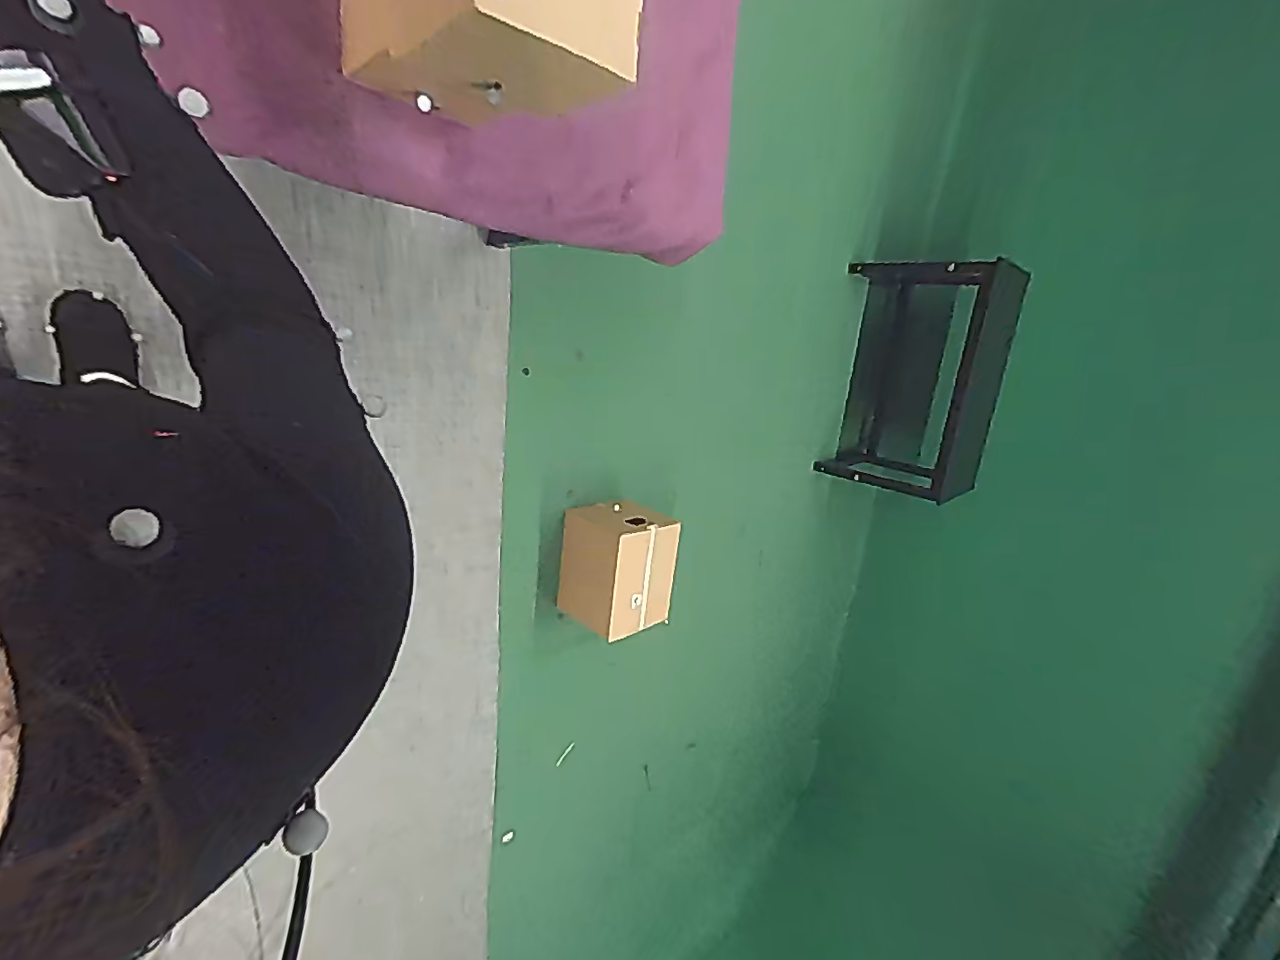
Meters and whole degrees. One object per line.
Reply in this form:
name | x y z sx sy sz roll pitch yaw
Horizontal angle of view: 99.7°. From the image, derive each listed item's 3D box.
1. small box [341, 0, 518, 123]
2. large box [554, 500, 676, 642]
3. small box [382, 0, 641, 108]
small box | -0.219 -0.534 0.600 0.168 0.176 0.179 -8 110 -44
large box | -0.102 0.321 2.033 0.320 0.320 0.408 -7 110 -45
small box | -0.114 -0.466 0.492 0.179 0.176 0.168 -12 113 -44
